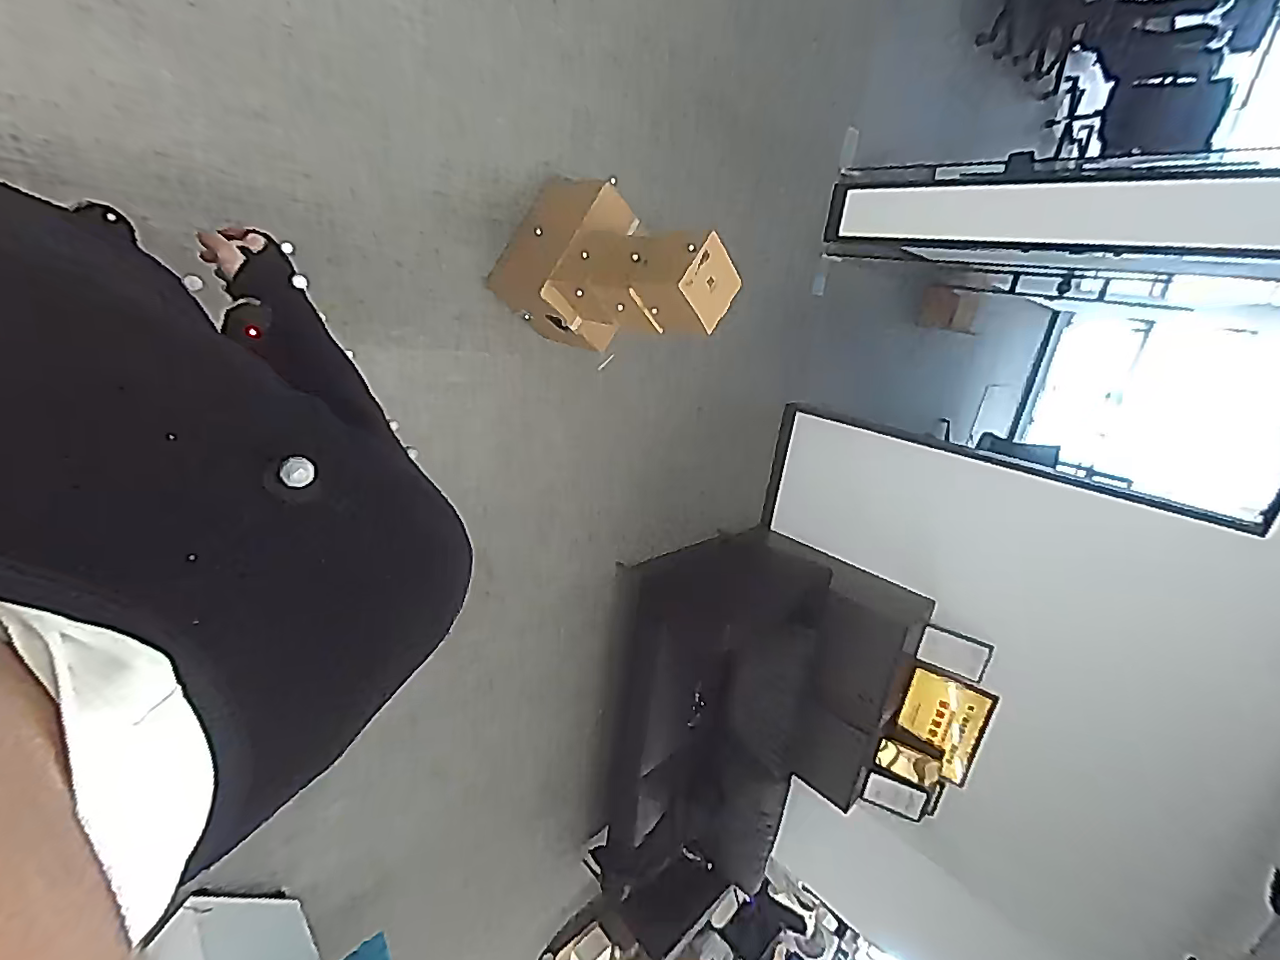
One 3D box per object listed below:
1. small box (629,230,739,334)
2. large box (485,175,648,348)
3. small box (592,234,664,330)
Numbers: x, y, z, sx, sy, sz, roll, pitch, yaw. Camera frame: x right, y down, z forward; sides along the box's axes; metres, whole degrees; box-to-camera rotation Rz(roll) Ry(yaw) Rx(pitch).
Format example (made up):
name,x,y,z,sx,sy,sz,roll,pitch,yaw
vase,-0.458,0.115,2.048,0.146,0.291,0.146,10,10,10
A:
name,x,y,z,sx,sy,sz,roll,pitch,yaw
small box,0.108,-0.486,1.318,0.168,0.176,0.179,-59,140,-10
large box,-0.222,-0.696,1.745,0.320,0.320,0.408,35,82,-51
small box,-0.002,-0.525,1.434,0.168,0.176,0.179,40,78,-48
